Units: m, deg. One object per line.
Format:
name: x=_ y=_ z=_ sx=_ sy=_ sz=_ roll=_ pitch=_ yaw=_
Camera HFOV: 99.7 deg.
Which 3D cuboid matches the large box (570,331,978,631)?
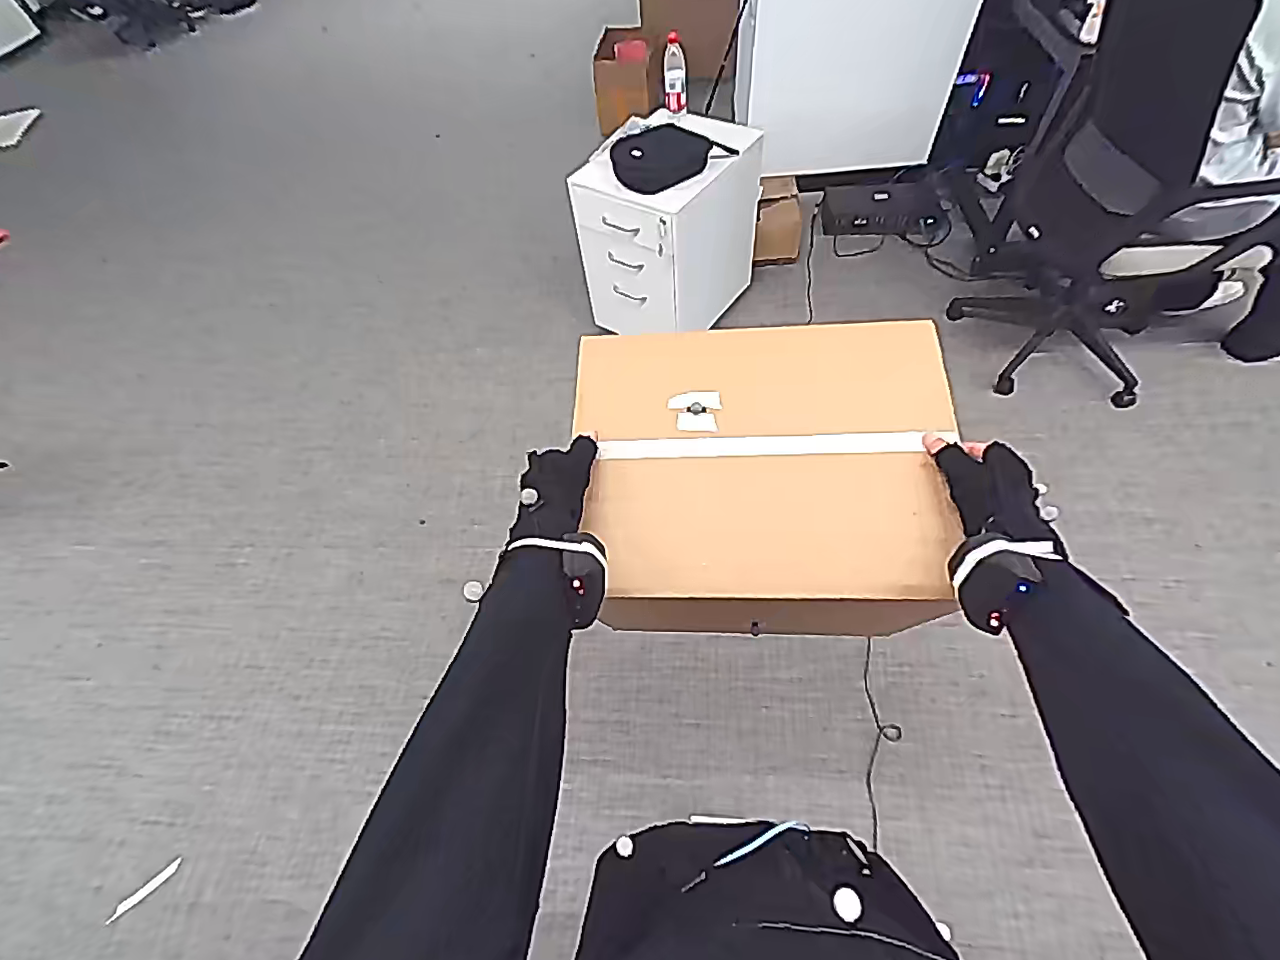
large box: x=0.147 y=0.031 z=0.724 sx=0.408 sy=0.320 sz=0.320 roll=-1 pitch=67 yaw=7
